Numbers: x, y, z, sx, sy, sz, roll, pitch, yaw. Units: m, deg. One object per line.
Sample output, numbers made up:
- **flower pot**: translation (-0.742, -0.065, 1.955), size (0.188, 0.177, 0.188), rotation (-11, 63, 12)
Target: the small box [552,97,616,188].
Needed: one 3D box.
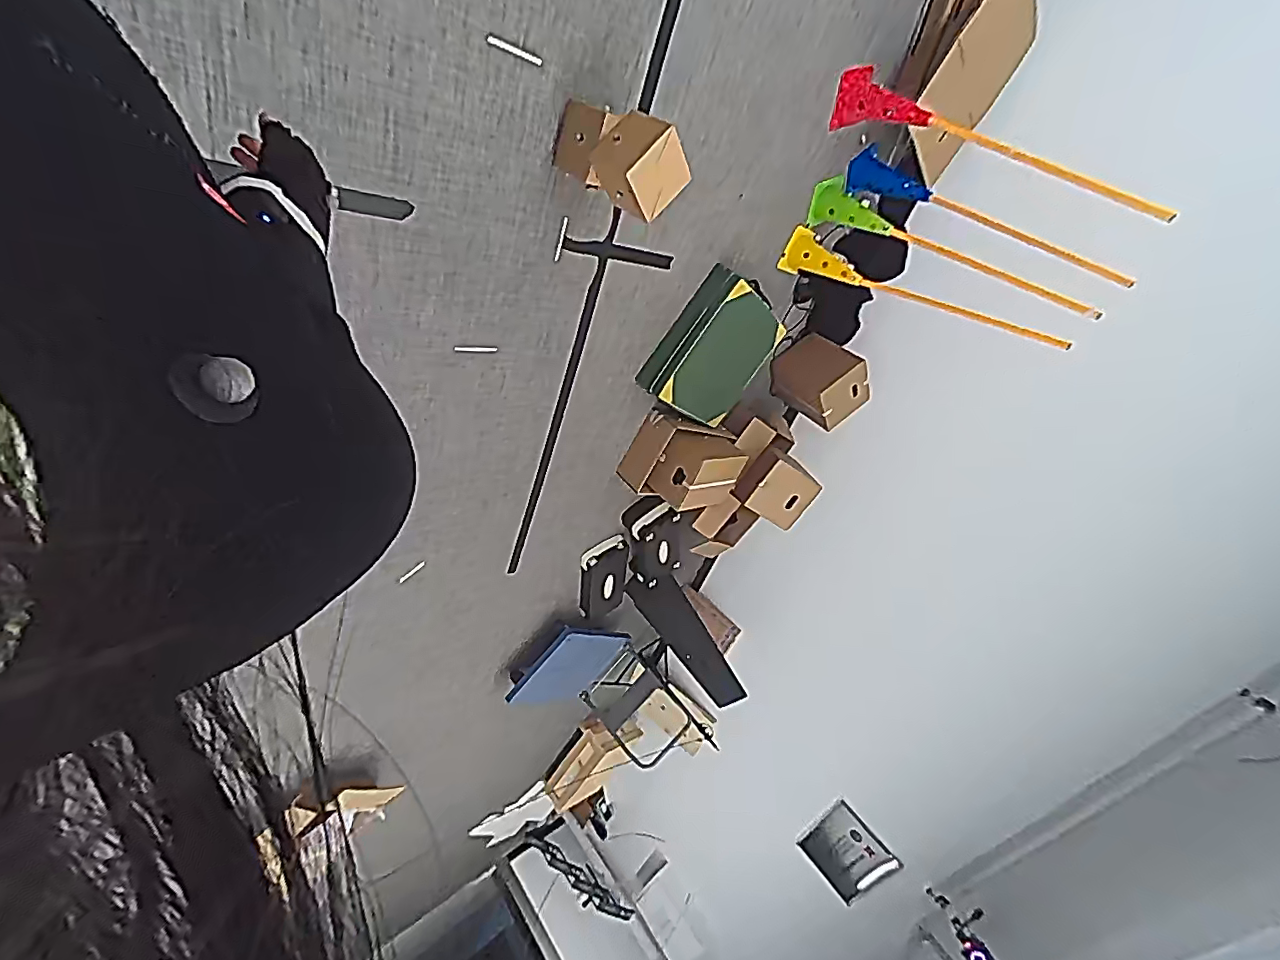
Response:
- **small box**: translation (-0.127, -0.939, 1.524), size (0.168, 0.176, 0.179), rotation (-12, 134, -46)

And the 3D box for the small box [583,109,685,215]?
- **small box**: translation (-0.012, -0.842, 1.449), size (0.179, 0.176, 0.168), rotation (-48, 150, 0)
